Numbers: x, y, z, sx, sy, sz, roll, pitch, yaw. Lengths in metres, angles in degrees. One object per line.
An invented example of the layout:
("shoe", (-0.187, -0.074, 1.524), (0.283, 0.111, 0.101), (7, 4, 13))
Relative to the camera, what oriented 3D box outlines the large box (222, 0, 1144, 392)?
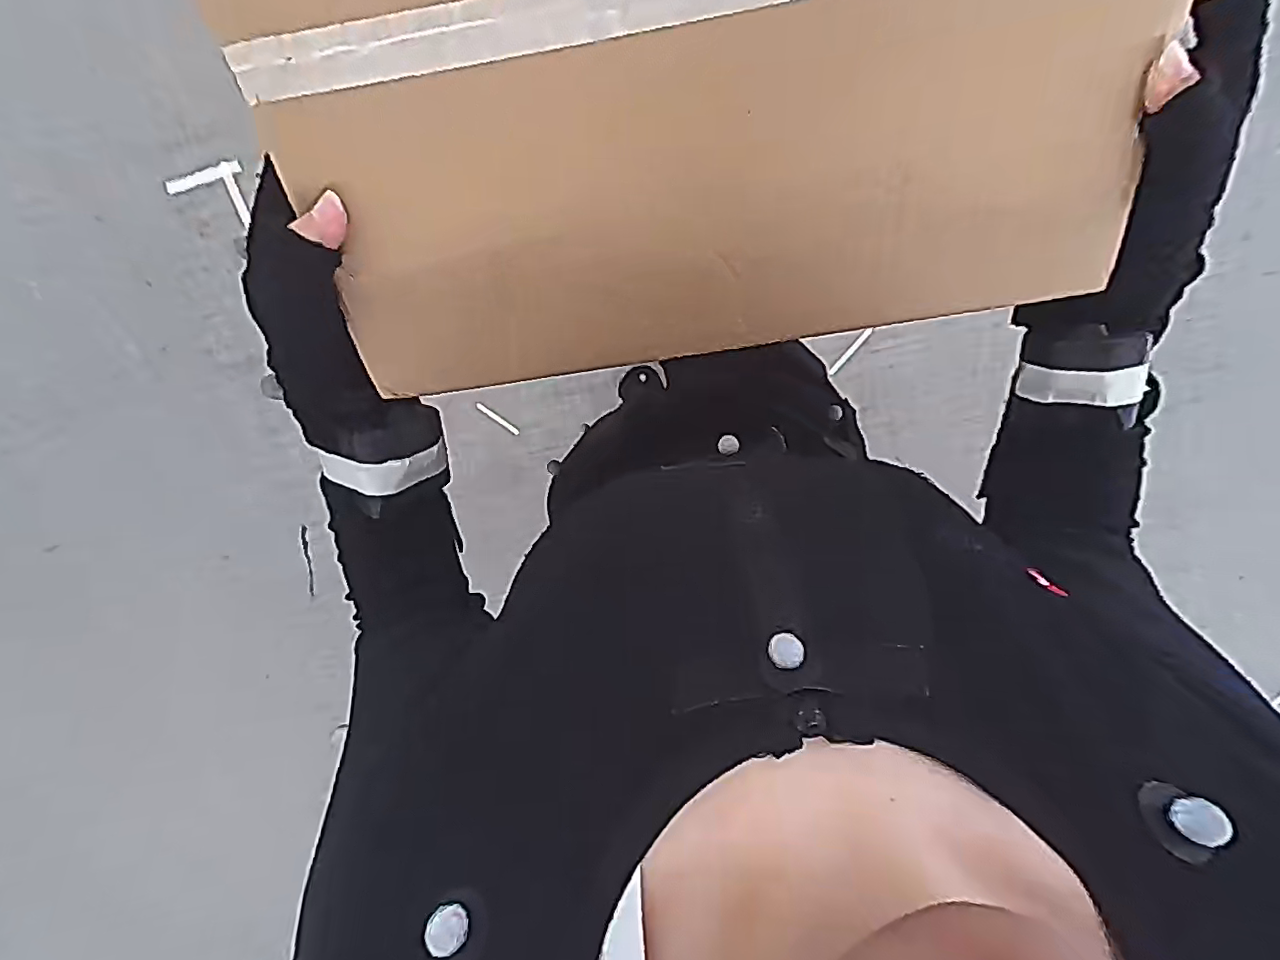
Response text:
("large box", (0.020, -0.289, 0.358), (0.408, 0.320, 0.320), (-8, 122, 4))
